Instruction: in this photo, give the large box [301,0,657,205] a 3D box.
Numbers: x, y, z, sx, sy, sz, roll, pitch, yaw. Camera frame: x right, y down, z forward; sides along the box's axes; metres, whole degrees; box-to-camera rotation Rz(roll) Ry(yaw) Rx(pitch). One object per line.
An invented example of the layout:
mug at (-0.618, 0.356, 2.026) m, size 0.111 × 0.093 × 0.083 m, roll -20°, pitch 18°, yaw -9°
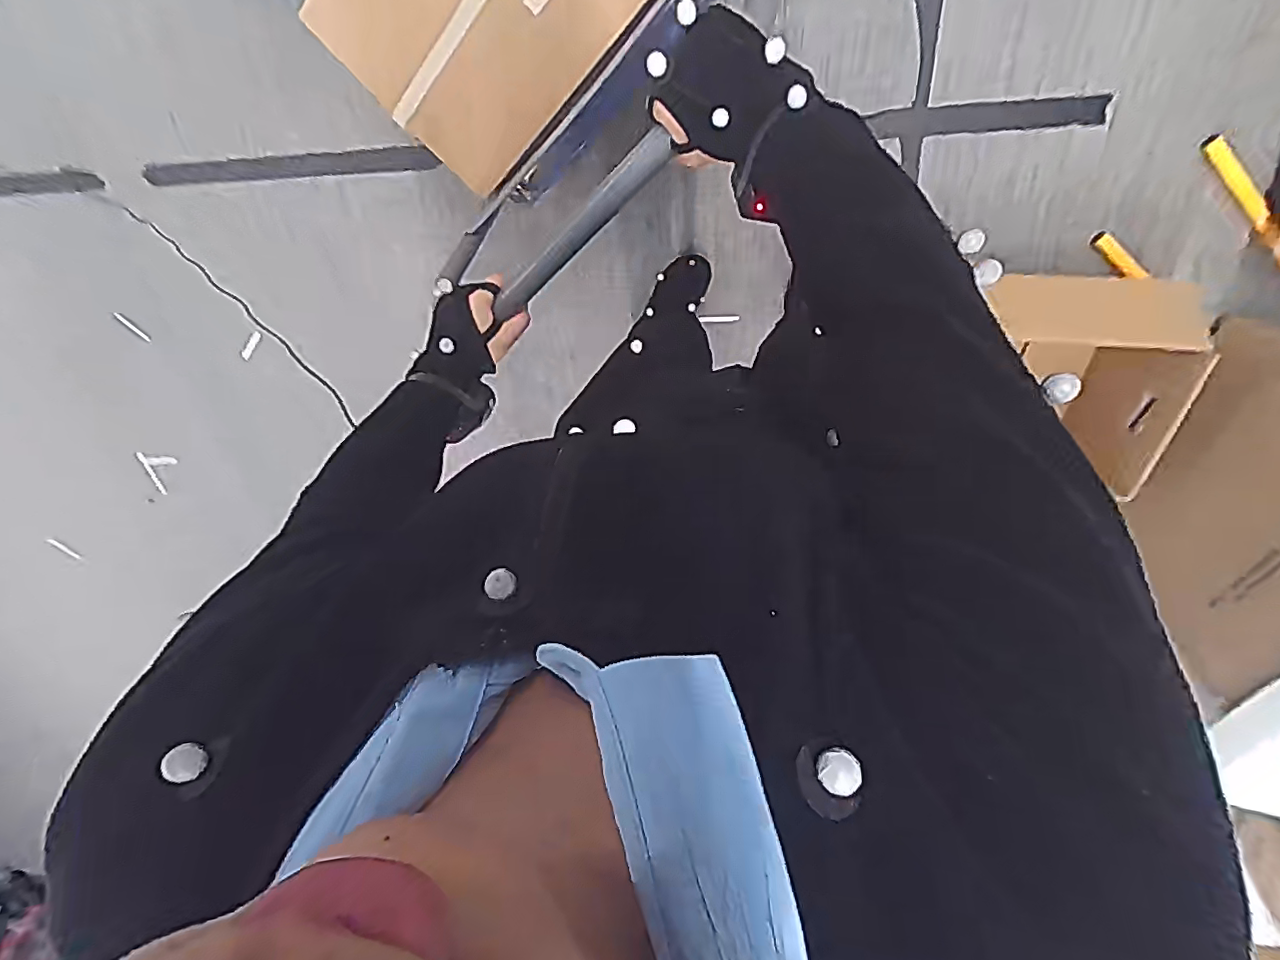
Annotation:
large box at (-0.205, -0.713, 0.809) m, size 0.408 × 0.320 × 0.320 m, roll -34°, pitch 122°, yaw 28°
